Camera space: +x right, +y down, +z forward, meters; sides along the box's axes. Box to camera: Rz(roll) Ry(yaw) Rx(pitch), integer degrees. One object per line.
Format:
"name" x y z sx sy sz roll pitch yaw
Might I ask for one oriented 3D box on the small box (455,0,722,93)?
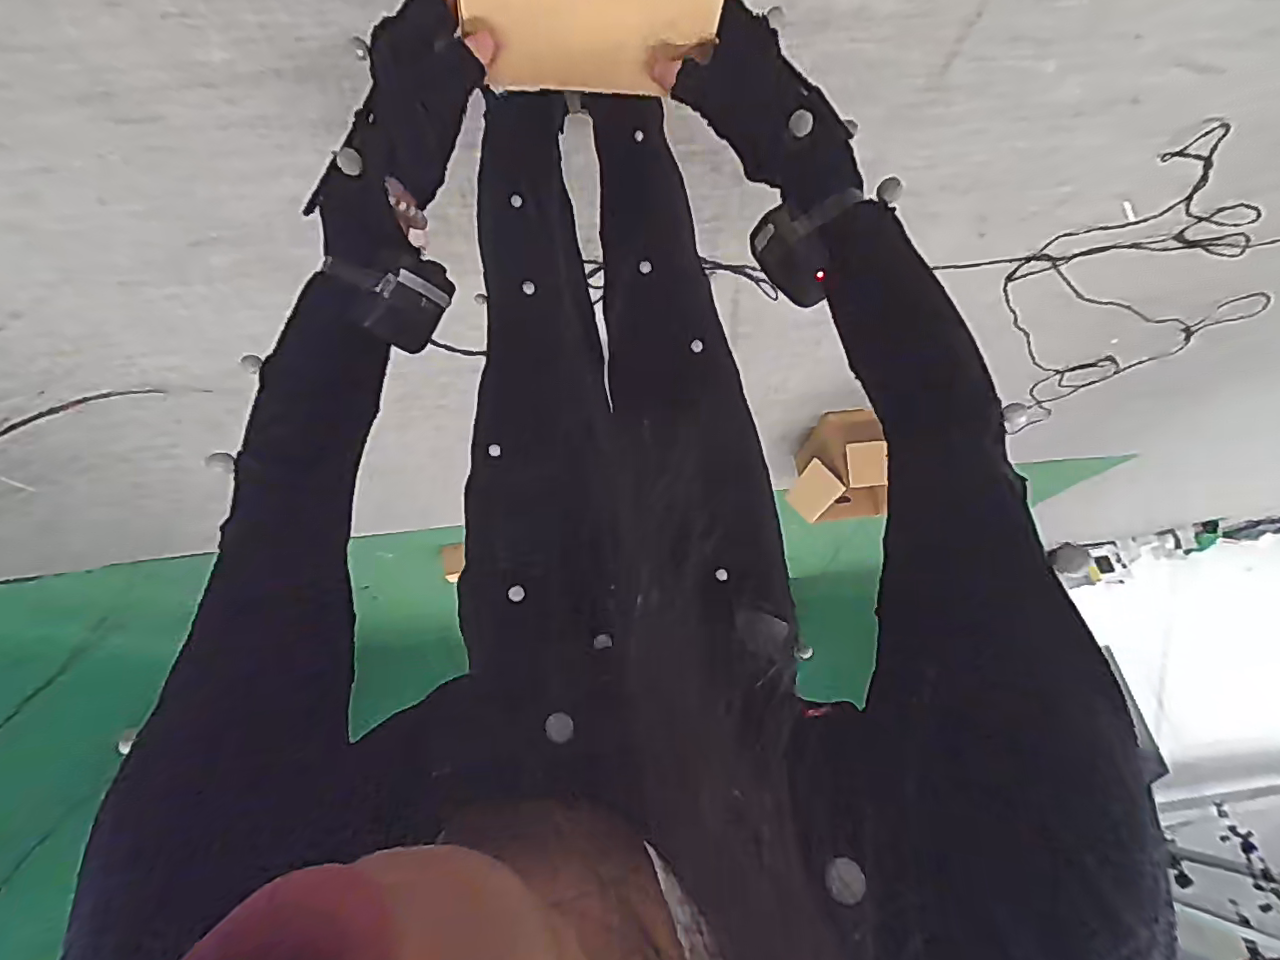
"small box" -0.037 -0.395 0.356 0.179 0.176 0.168 -3 155 -9
